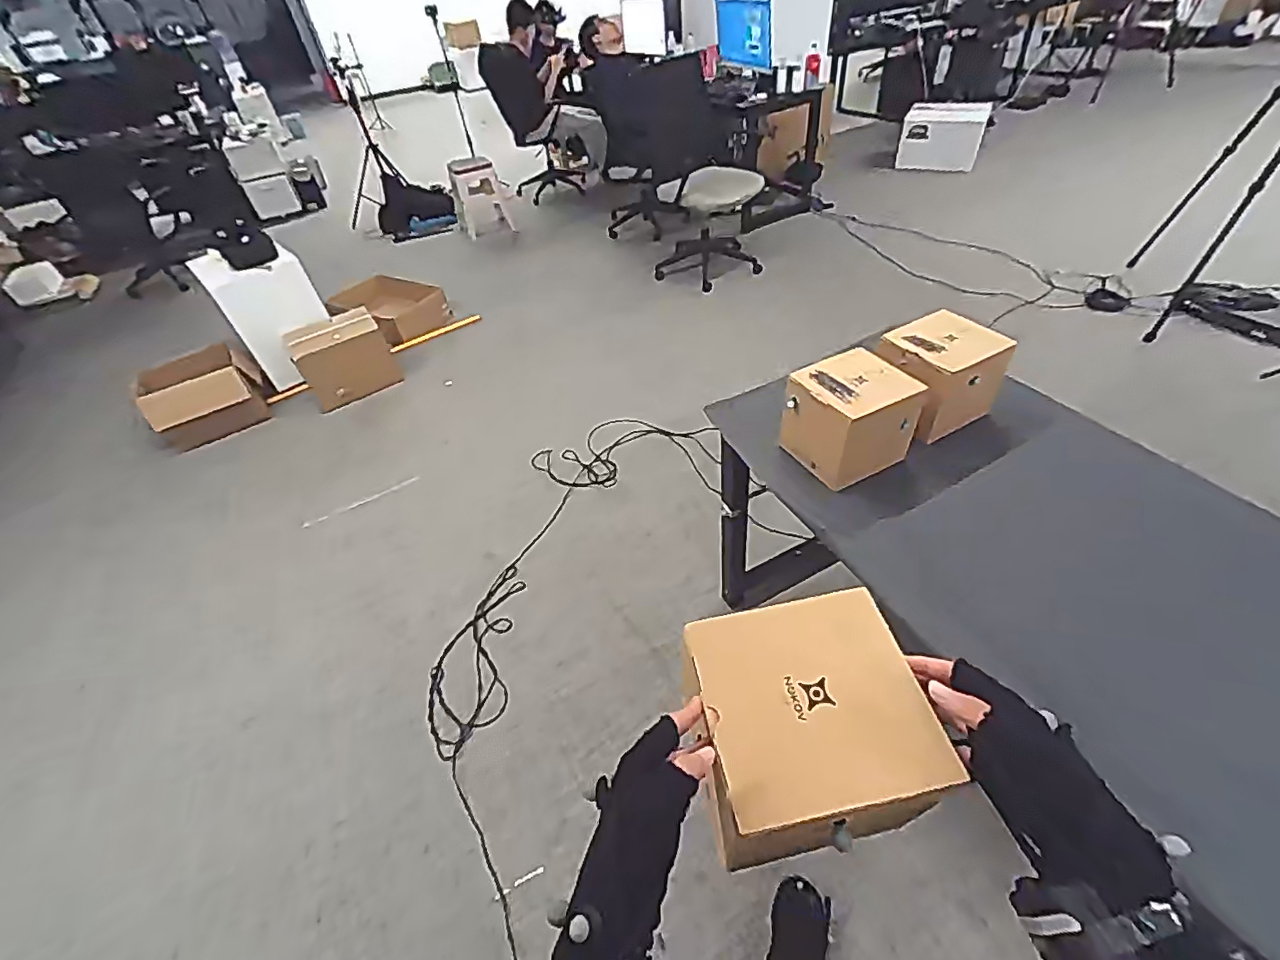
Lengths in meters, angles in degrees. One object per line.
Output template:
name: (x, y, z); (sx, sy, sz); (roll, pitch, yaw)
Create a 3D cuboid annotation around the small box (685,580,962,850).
small box: (0.143, 0.219, 0.499); (0.179, 0.176, 0.168); (-11, 48, -4)

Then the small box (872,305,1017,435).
small box: (0.589, -0.215, 1.074); (0.179, 0.176, 0.168); (-24, 47, -16)
